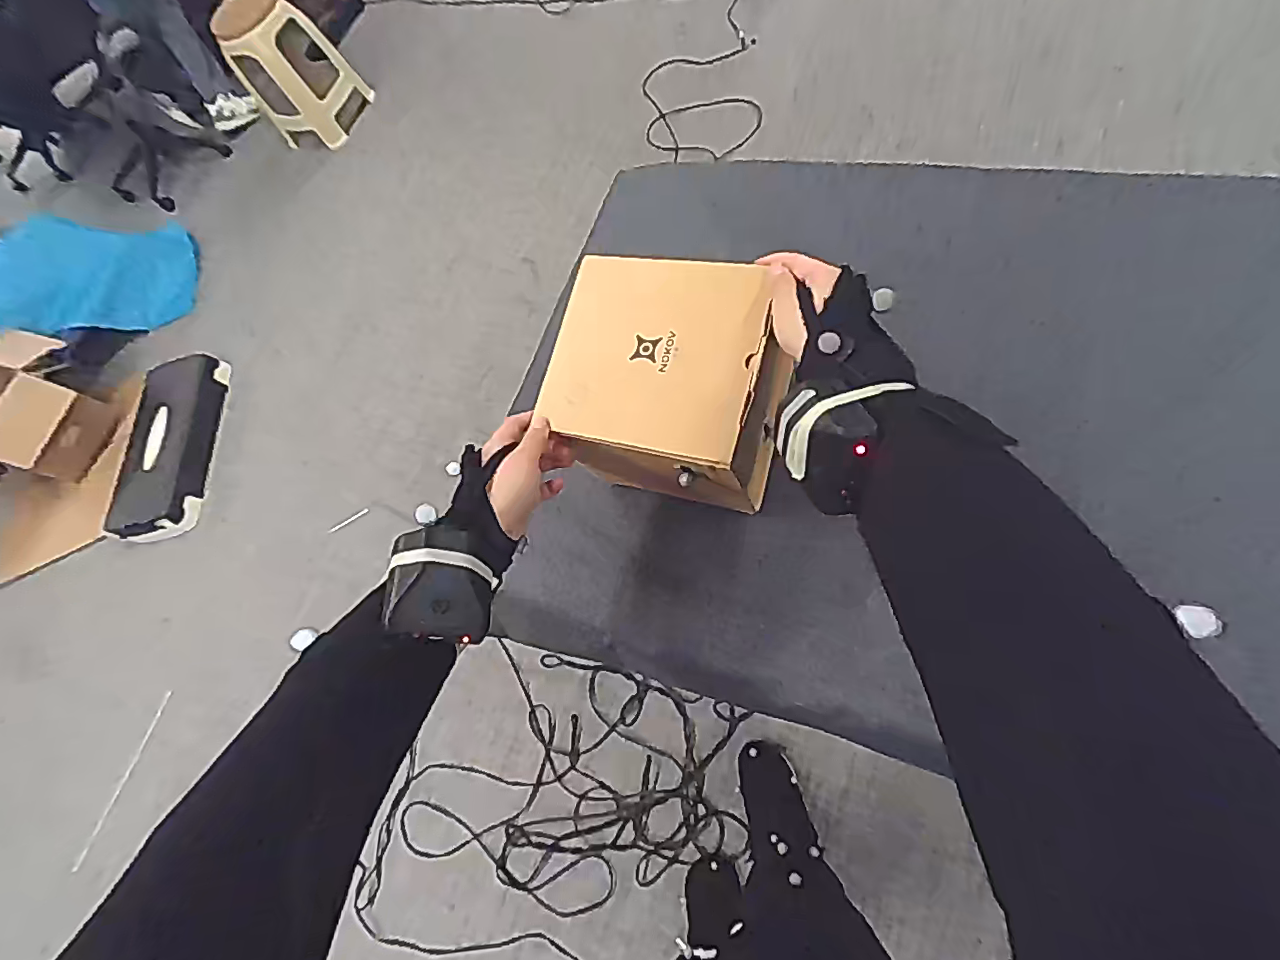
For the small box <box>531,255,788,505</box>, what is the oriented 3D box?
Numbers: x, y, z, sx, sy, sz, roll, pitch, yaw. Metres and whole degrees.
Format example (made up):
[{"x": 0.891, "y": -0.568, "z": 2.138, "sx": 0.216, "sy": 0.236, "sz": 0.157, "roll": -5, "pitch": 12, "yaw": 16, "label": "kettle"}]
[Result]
[{"x": 0.033, "y": -0.084, "z": 0.507, "sx": 0.179, "sy": 0.176, "sz": 0.168, "roll": 12, "pitch": 79, "yaw": 20, "label": "small box"}]
